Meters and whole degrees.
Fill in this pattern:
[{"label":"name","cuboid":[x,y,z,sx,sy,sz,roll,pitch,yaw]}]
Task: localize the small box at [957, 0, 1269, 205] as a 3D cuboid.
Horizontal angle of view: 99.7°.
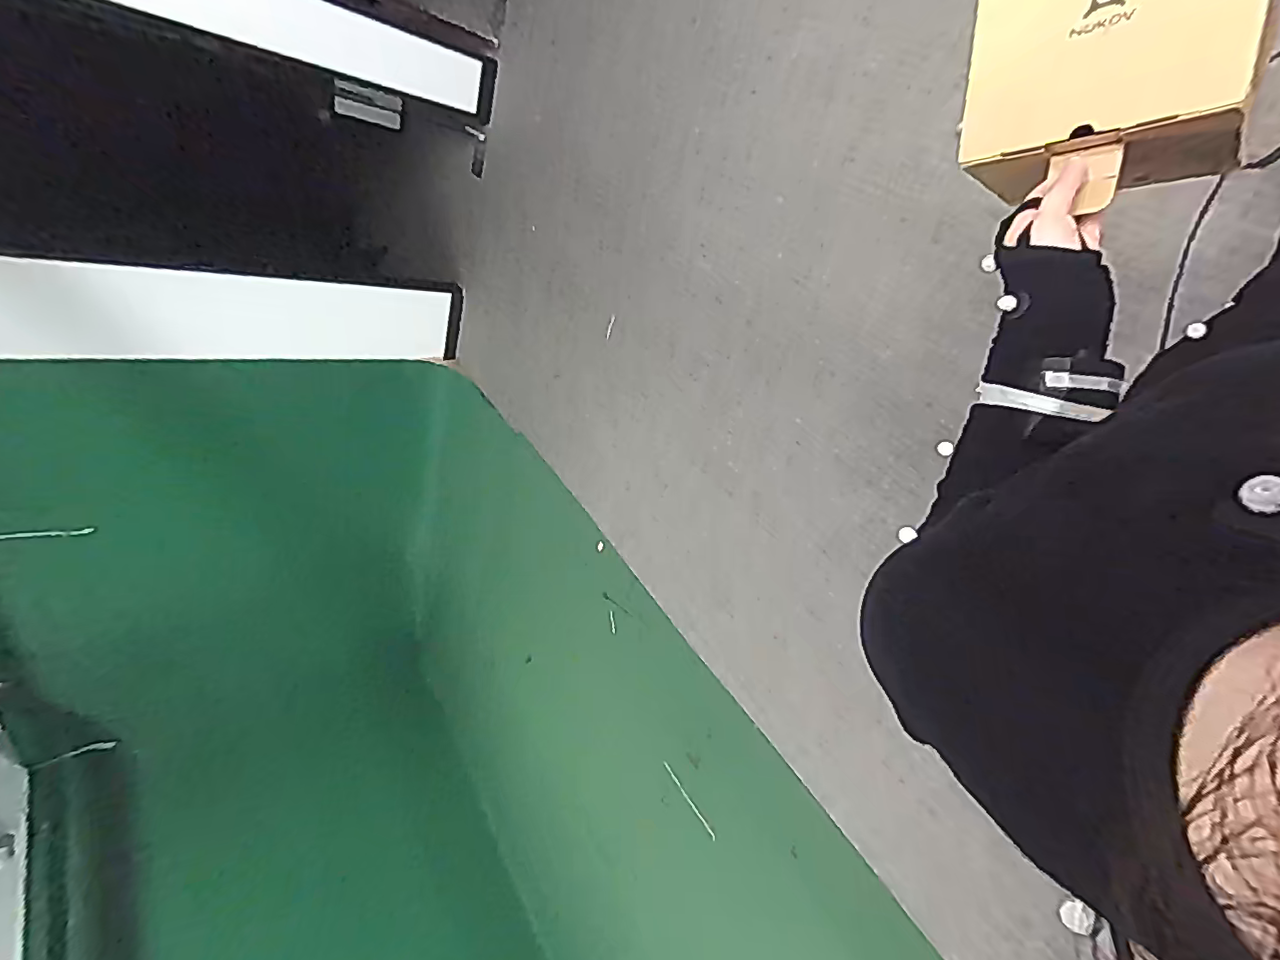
[{"label":"small box","cuboid":[0.388,-0.349,0.445,0.168,0.176,0.179,14,109,44]}]
